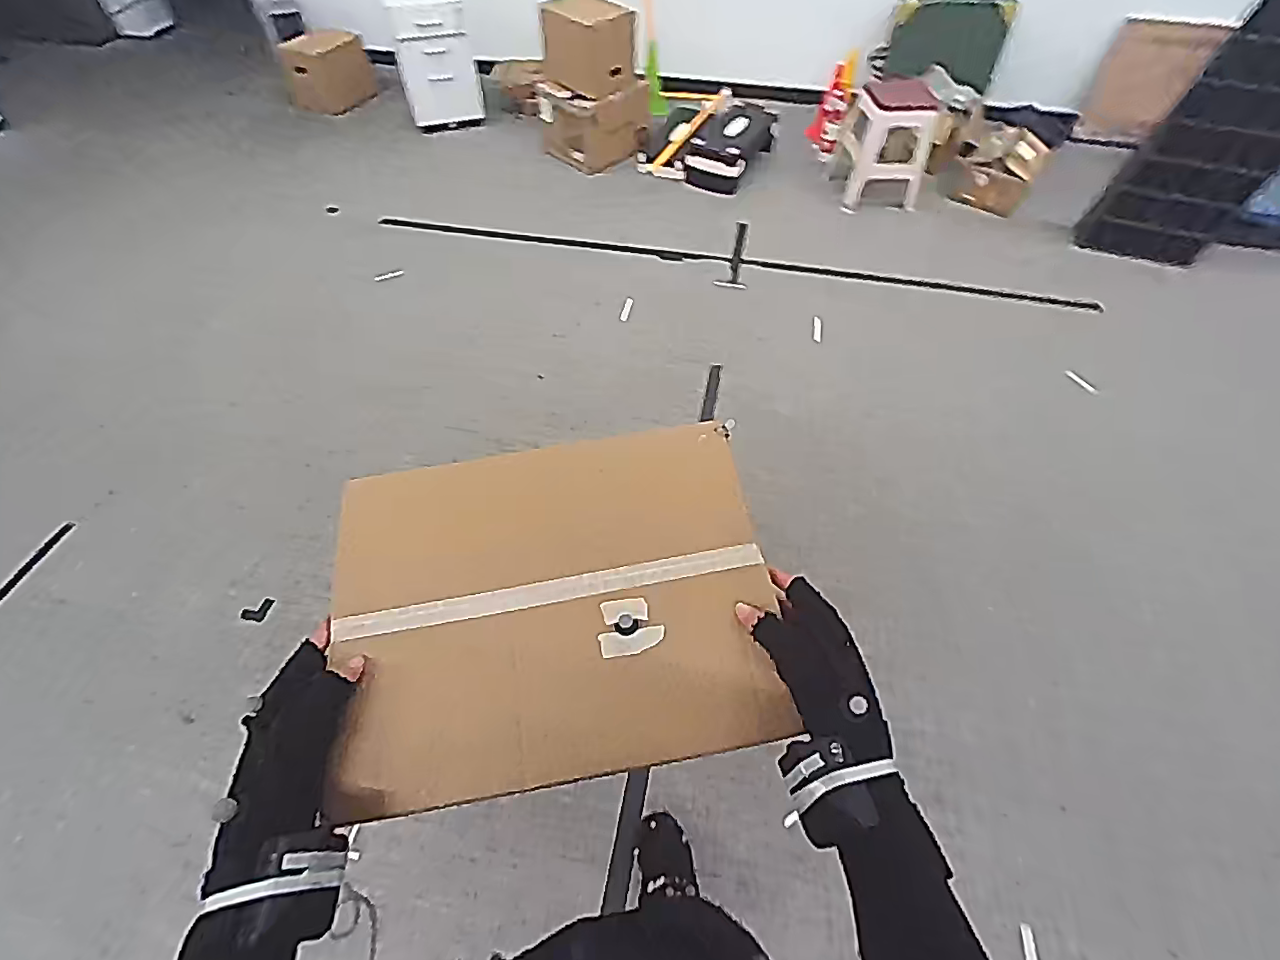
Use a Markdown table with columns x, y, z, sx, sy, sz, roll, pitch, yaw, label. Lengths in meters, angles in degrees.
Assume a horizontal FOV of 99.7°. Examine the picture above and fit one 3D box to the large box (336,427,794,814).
| x | y | z | sx | sy | sz | roll | pitch | yaw | label |
| --- | --- | --- | --- | --- | --- | --- | --- | --- | --- |
| -0.083 | 0.177 | 0.657 | 0.408 | 0.320 | 0.320 | -10 | 63 | -4 | large box |
